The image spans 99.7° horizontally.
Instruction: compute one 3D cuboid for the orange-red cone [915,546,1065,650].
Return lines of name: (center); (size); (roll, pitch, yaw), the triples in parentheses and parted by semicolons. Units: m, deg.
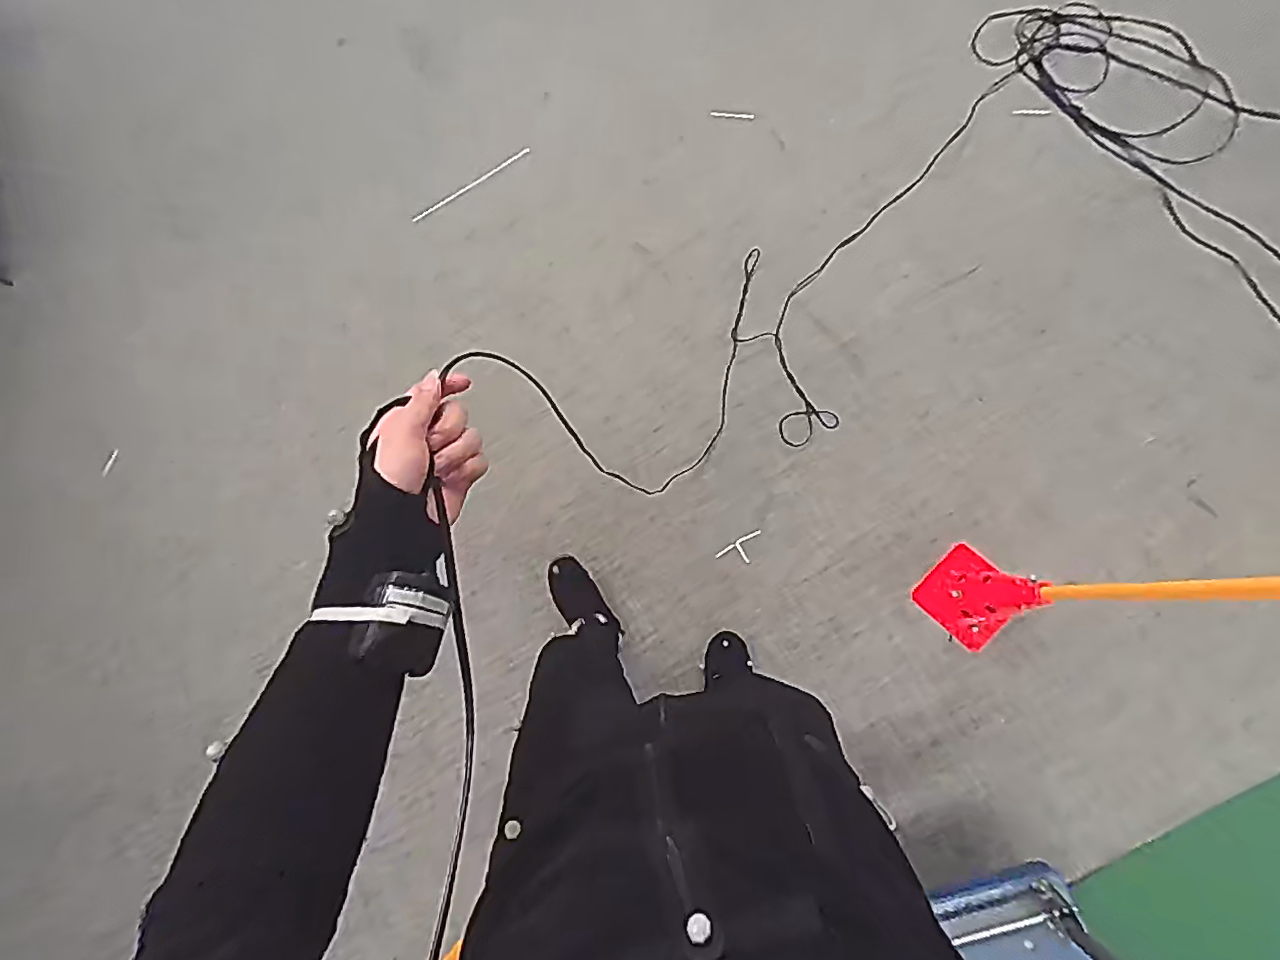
orange-red cone: (0.786, 0.248, 1.163); (0.199, 0.360, 0.198); (-44, 75, -4)
